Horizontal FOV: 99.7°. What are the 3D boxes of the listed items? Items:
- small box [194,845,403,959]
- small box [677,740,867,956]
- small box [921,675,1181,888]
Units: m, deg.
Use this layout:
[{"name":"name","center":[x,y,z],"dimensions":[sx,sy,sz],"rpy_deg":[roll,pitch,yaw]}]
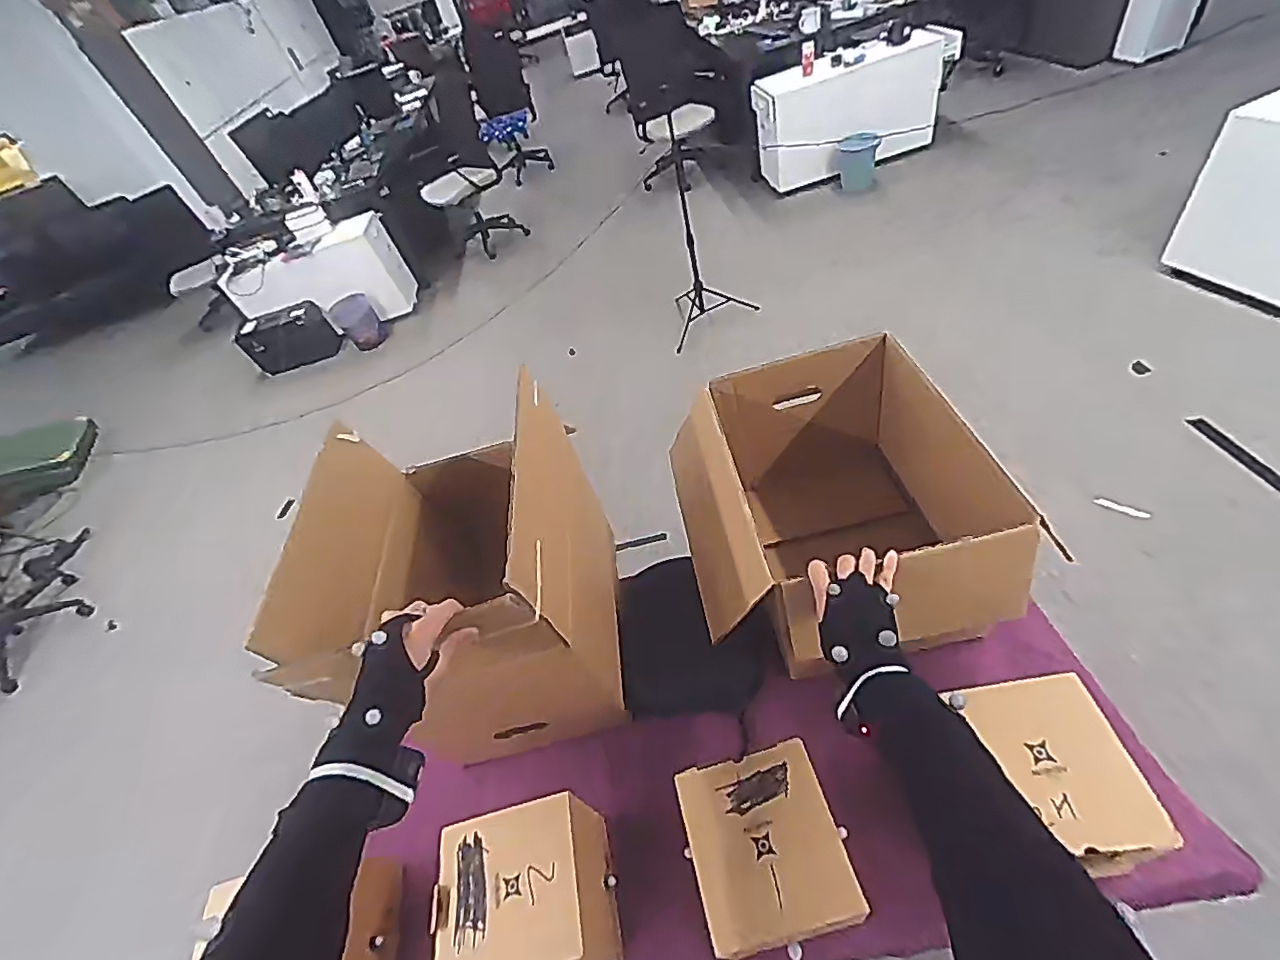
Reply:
[{"name":"small box","center":[-0.448,0.618,0.718],"dimensions":[0.179,0.176,0.168],"rpy_deg":[-18,46,1]},{"name":"small box","center":[0.155,0.452,0.662],"dimensions":[0.168,0.176,0.179],"rpy_deg":[-18,47,3]},{"name":"small box","center":[0.455,0.359,0.642],"dimensions":[0.168,0.176,0.179],"rpy_deg":[-13,46,9]}]
